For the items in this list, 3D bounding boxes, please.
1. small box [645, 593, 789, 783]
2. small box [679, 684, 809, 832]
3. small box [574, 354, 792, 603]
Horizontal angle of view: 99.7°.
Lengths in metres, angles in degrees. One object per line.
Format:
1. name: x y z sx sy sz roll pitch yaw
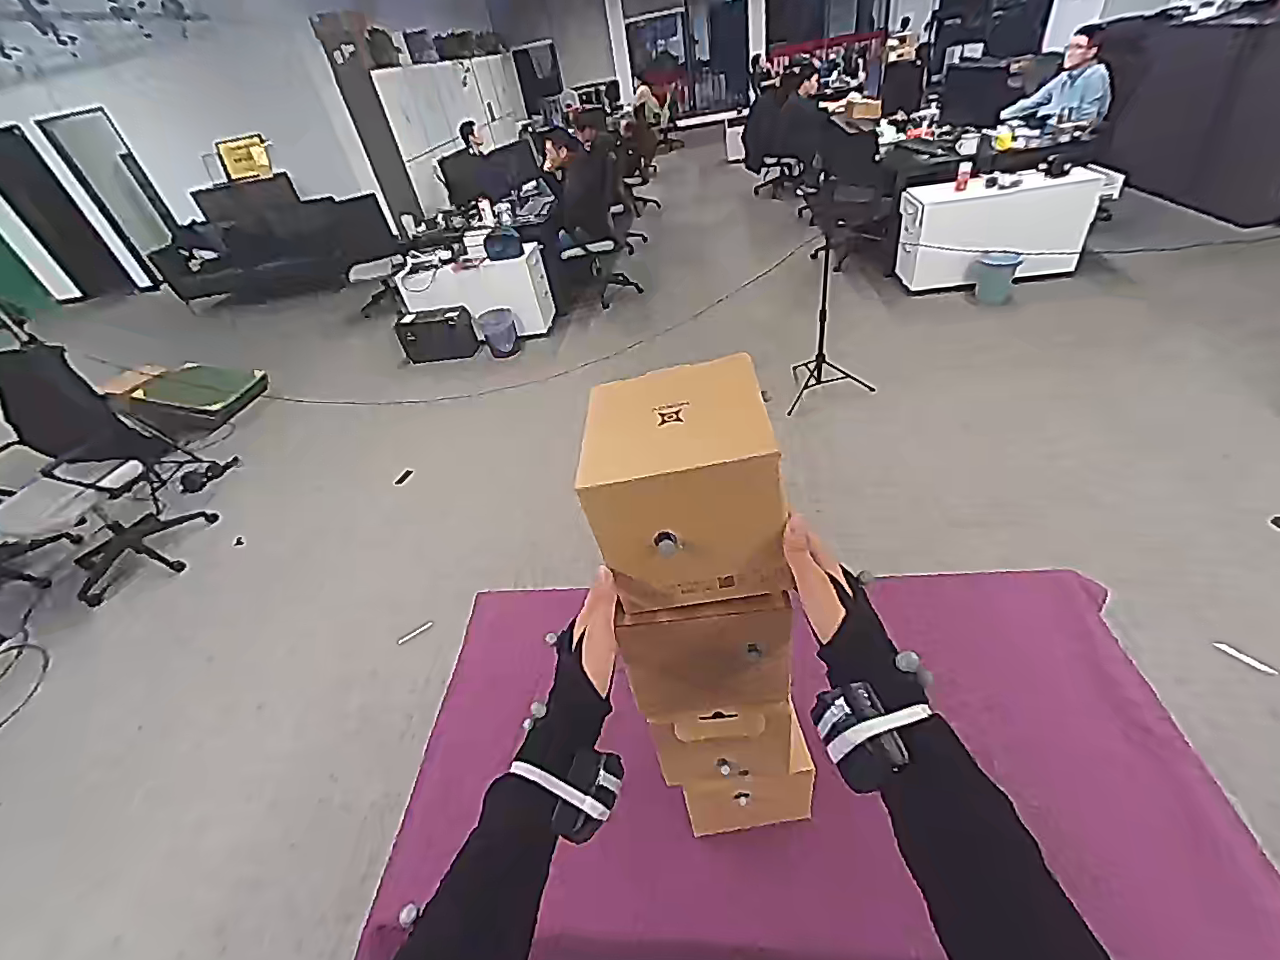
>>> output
1. small box: 0.099 0.277 0.724 0.168 0.176 0.179 -7 39 6
2. small box: 0.144 0.406 0.818 0.179 0.176 0.168 -9 39 1
3. small box: 0.047 0.004 0.533 0.168 0.176 0.179 -11 36 10
